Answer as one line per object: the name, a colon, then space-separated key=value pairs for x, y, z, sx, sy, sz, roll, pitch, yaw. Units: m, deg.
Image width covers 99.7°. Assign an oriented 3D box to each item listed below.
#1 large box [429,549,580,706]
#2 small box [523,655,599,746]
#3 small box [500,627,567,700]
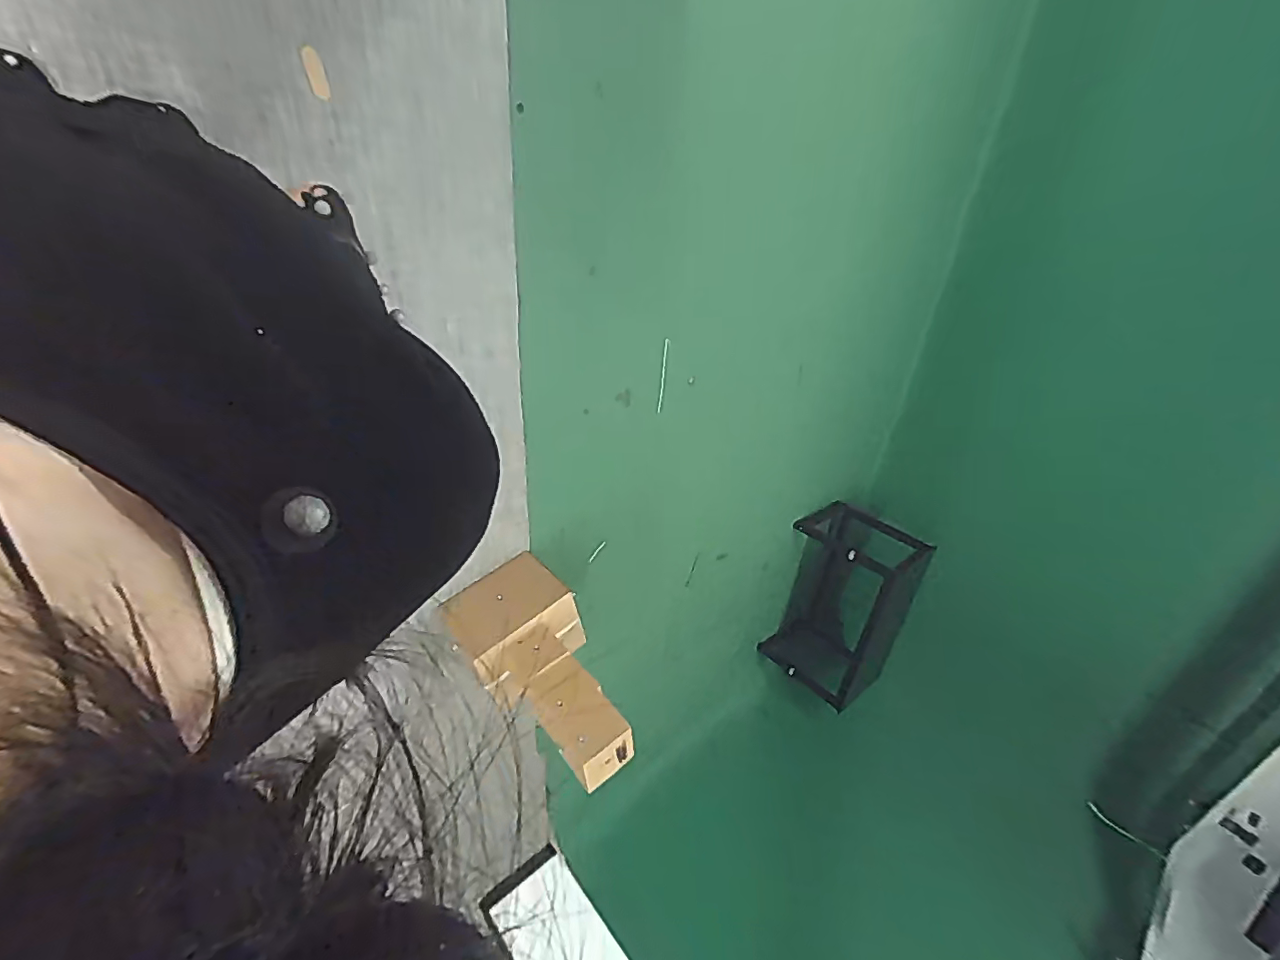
large box: x=-0.498 y=0.537 z=2.024 sx=0.408 sy=0.320 sz=0.320 roll=-34 pitch=137 yaw=-29
small box: x=-0.252 y=0.702 z=1.741 sx=0.179 sy=0.176 sz=0.168 roll=-27 pitch=132 yaw=-32
small box: x=-0.357 y=0.628 z=1.839 sx=0.168 sy=0.176 sz=0.179 roll=-28 pitch=133 yaw=-31
